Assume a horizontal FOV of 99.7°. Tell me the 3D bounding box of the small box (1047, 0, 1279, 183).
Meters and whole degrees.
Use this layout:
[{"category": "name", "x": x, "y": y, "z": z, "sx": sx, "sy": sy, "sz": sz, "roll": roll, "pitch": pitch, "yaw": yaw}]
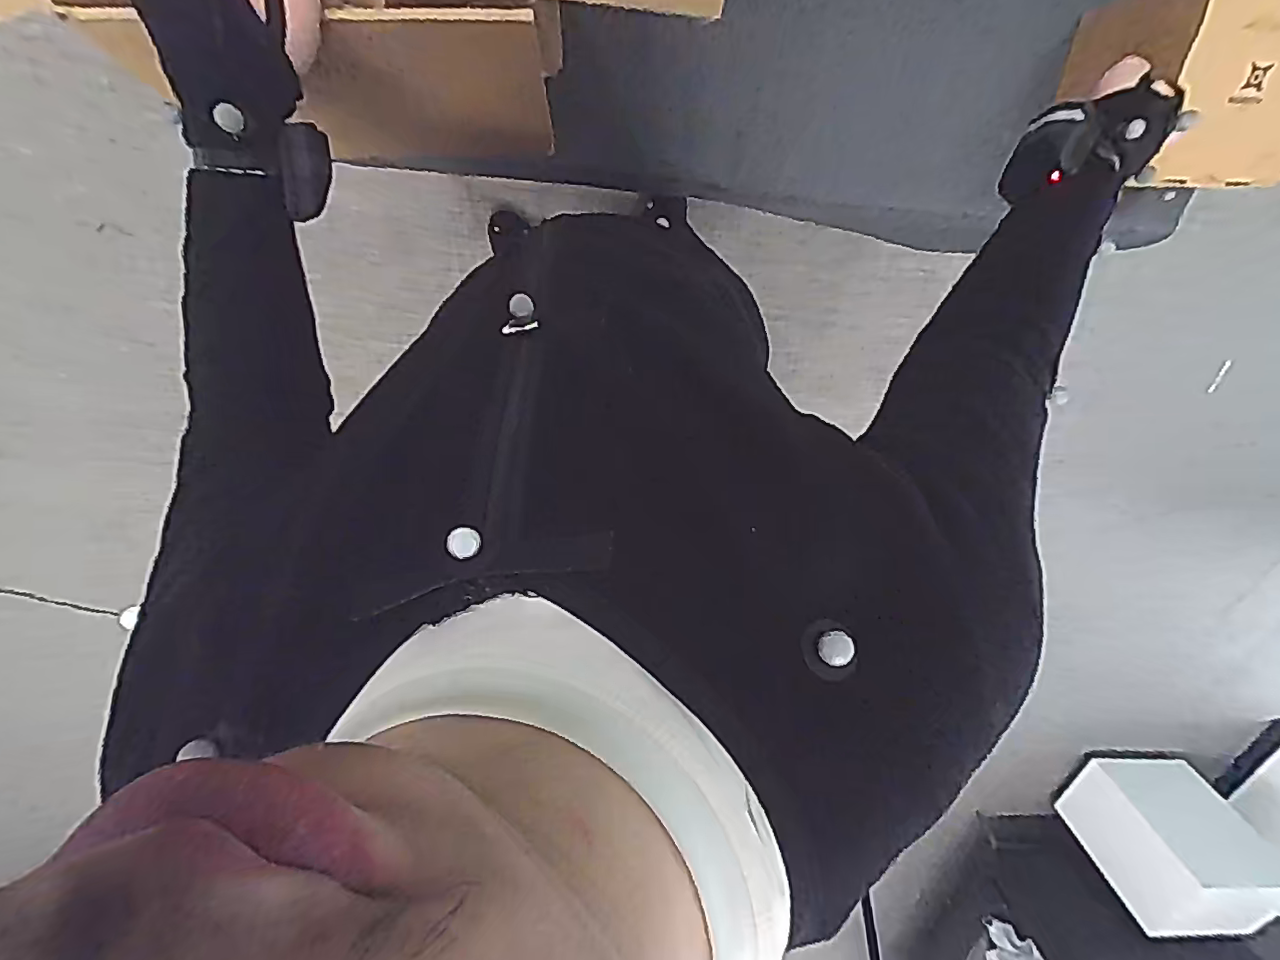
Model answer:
[{"category": "small box", "x": 0.602, "y": -0.431, "z": 0.595, "sx": 0.168, "sy": 0.176, "sz": 0.179, "roll": 0, "pitch": 119, "yaw": -4}]
